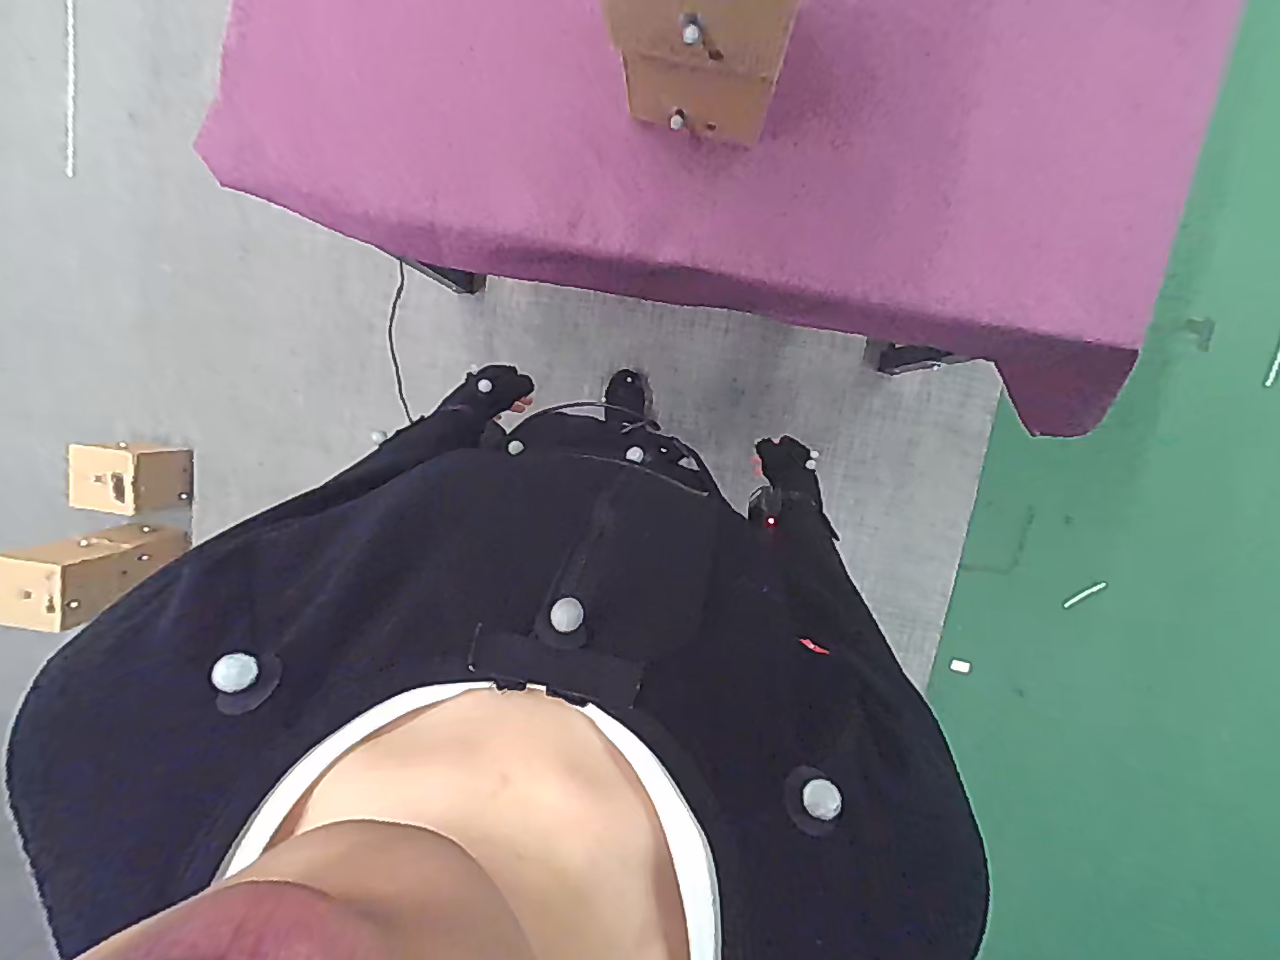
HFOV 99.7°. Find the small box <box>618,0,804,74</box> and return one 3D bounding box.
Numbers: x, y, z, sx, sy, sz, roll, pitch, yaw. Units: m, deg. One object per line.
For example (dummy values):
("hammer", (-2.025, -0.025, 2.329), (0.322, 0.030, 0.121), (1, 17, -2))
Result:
("small box", (0.070, -0.480, 0.430), (0.168, 0.176, 0.179), (13, 97, 3))

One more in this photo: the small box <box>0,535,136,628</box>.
("small box", (-1.401, 0.240, 1.323), (0.179, 0.176, 0.168), (10, 97, 2))

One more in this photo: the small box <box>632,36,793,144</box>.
("small box", (0.087, -0.513, 0.590), (0.168, 0.176, 0.179), (15, 98, 2))

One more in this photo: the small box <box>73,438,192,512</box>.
("small box", (-1.354, -0.021, 1.452), (0.179, 0.176, 0.168), (8, 97, 3))
